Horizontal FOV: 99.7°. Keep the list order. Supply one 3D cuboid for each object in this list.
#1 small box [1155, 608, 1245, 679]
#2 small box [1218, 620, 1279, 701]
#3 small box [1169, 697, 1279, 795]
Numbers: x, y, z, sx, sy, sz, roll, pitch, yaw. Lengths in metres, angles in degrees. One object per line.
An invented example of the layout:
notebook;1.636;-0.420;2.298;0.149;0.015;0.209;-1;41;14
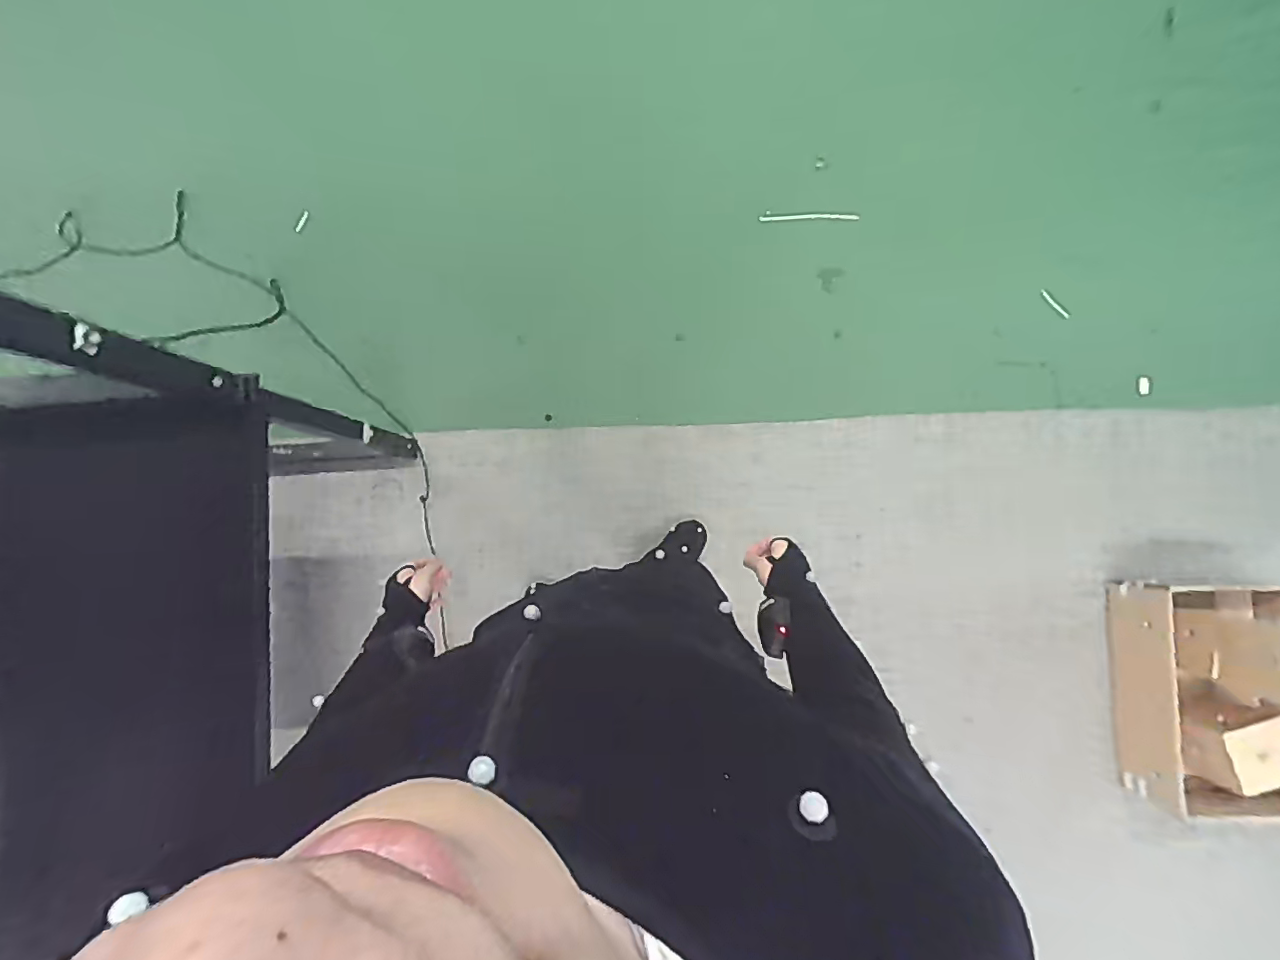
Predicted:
small box;1.596;0.460;1.503;0.179;0.176;0.168;10;87;-1
small box;1.597;0.450;1.339;0.168;0.176;0.179;3;87;-1
small box;1.617;0.721;1.483;0.179;0.176;0.168;-16;86;-2
